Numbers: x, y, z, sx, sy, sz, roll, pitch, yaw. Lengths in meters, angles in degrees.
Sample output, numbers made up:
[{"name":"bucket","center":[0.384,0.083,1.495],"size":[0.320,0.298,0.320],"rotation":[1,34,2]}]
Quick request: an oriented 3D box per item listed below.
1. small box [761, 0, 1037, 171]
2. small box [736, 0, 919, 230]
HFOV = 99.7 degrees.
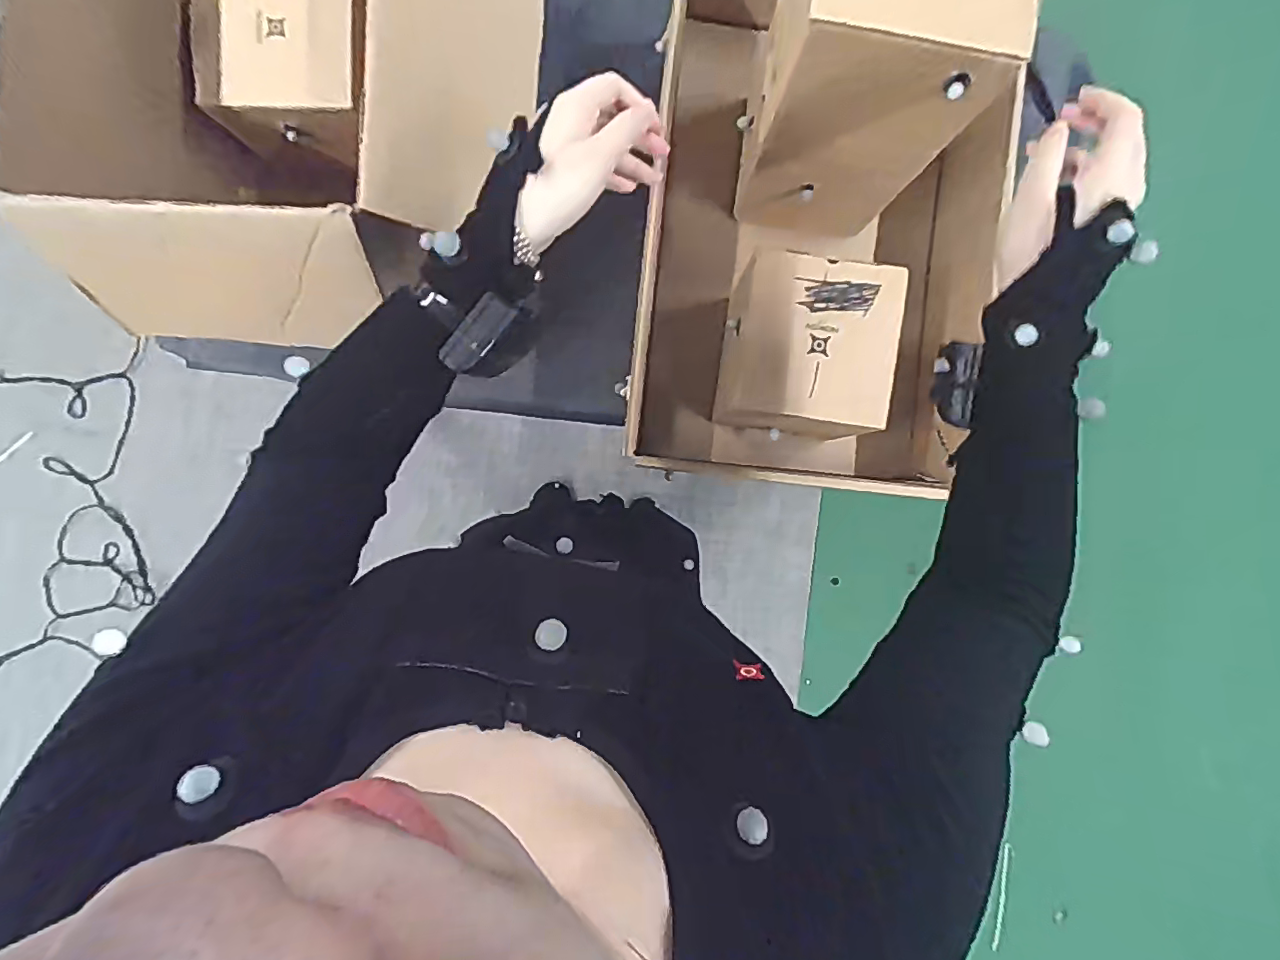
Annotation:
[{"name":"small box","center":[0.221,-0.413,0.490],"size":[0.179,0.176,0.168],"rotation":[9,92,-3]},{"name":"small box","center":[0.221,-0.423,0.653],"size":[0.179,0.176,0.168],"rotation":[7,93,-1]}]
